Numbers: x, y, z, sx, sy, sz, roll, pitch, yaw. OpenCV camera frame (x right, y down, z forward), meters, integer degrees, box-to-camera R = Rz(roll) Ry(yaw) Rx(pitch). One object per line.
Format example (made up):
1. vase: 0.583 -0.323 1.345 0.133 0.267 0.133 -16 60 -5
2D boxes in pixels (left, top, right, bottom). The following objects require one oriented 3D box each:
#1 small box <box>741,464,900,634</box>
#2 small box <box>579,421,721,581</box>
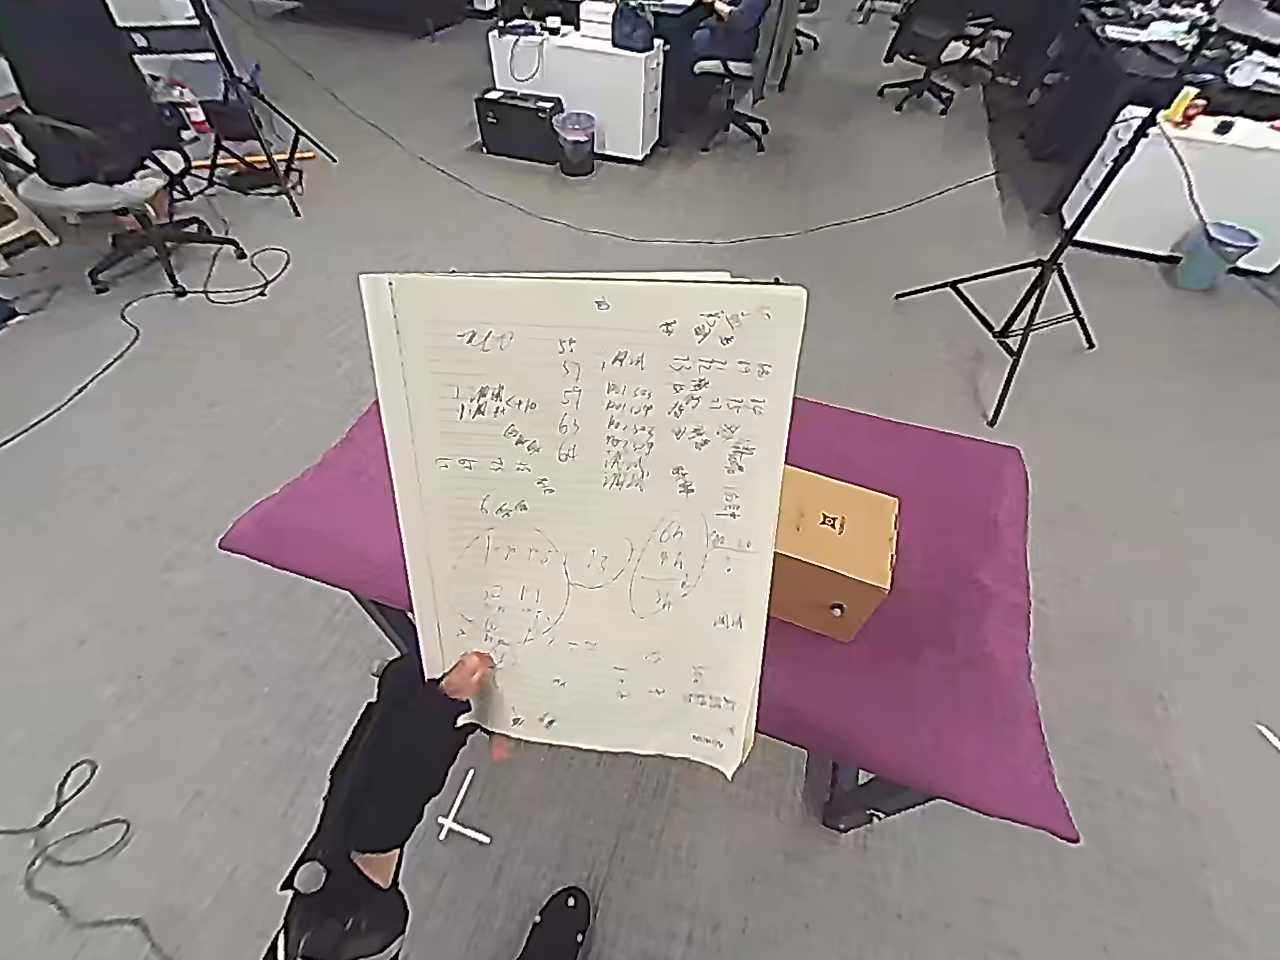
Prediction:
1. small box: 0.267 0.109 0.816 0.179 0.176 0.168 17 50 13
2. small box: 0.015 0.039 0.862 0.179 0.176 0.168 16 51 9
